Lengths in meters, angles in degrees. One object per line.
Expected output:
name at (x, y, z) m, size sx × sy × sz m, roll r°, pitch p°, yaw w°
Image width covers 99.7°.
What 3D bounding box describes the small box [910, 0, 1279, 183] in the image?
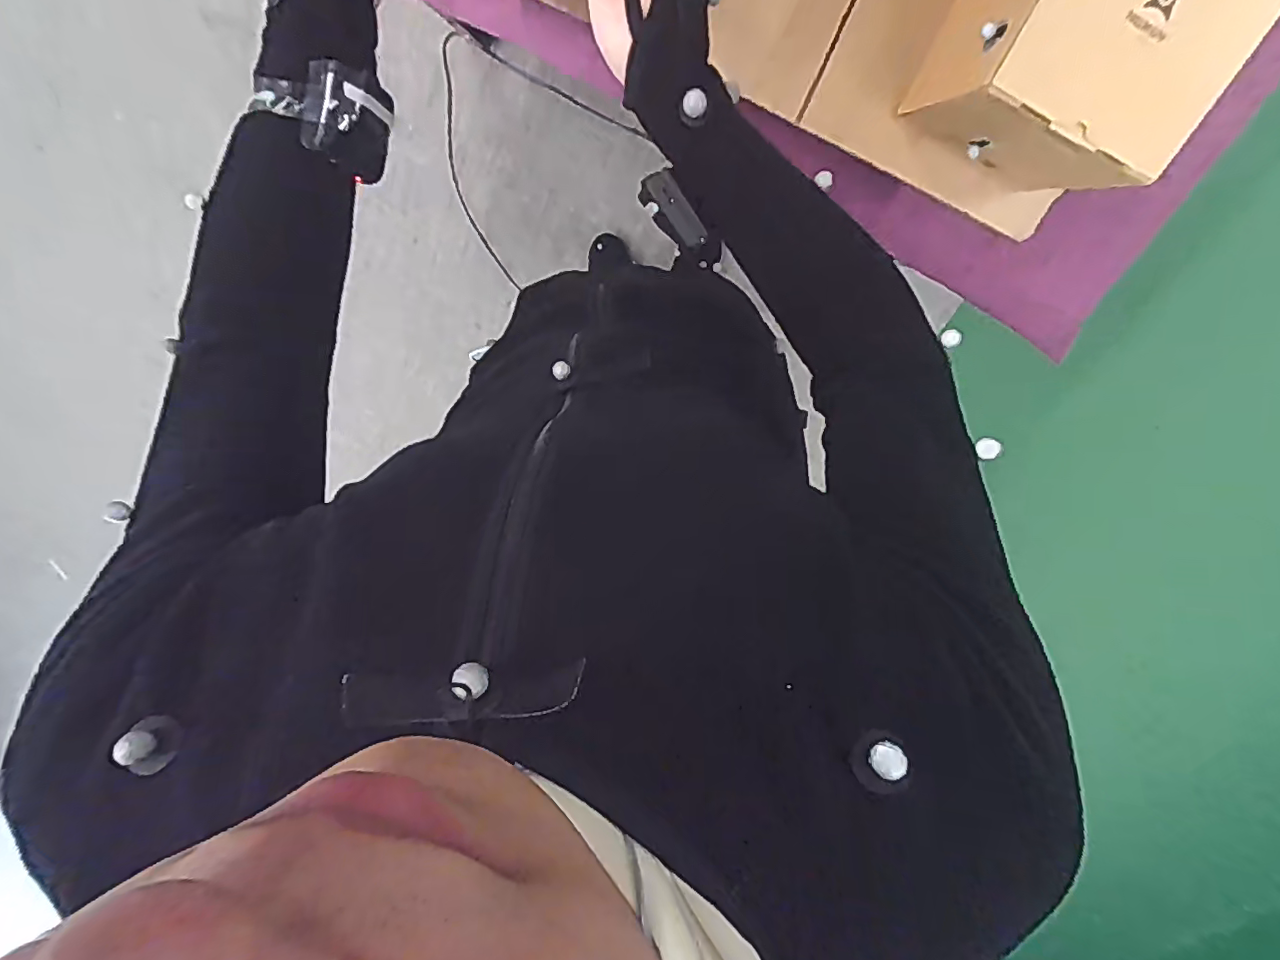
small box at (0.363, -0.370, 0.445) m, size 0.168 × 0.176 × 0.179 m, roll 20°, pitch 117°, yaw -11°
